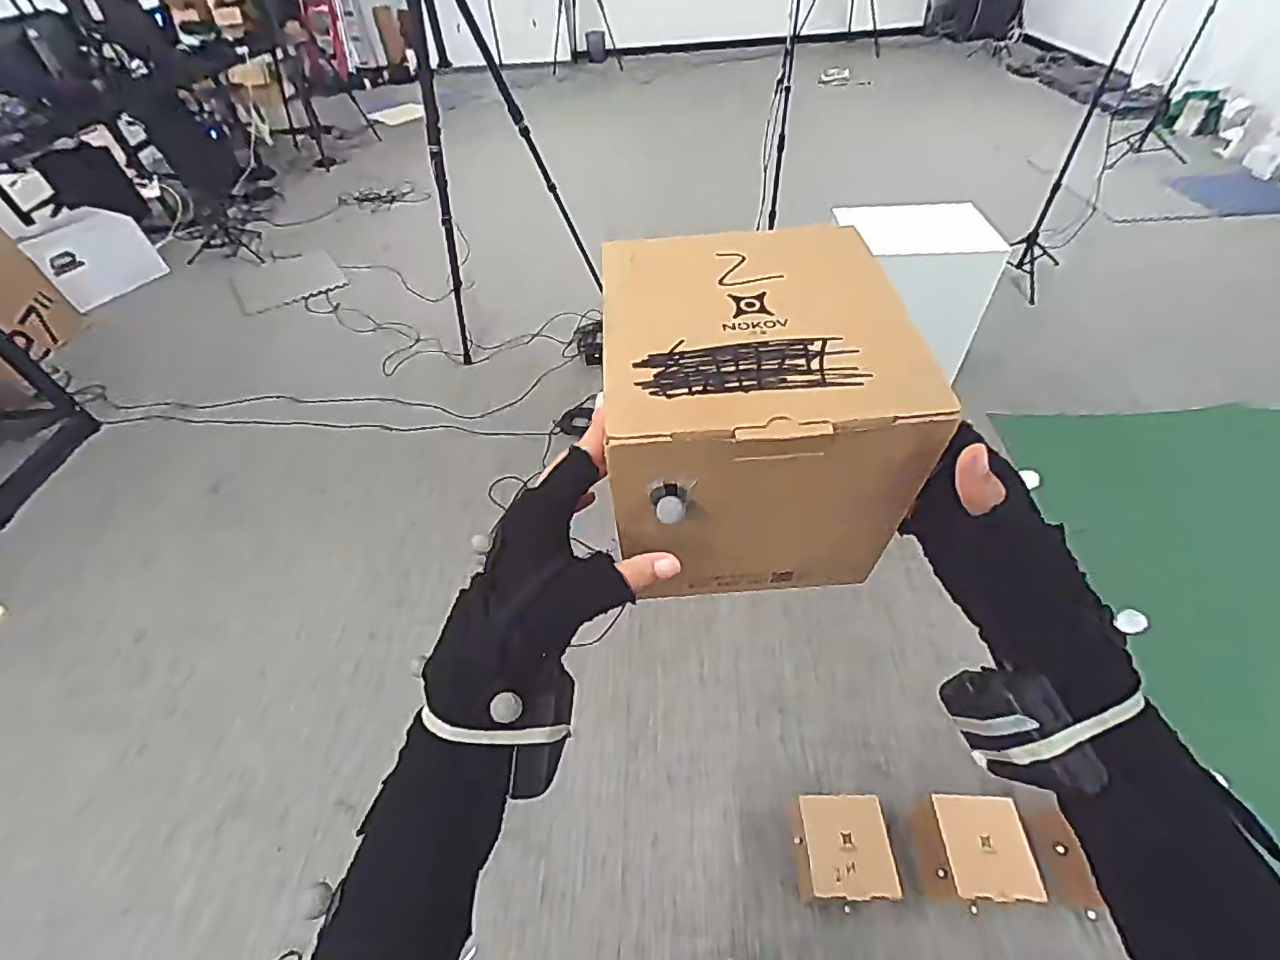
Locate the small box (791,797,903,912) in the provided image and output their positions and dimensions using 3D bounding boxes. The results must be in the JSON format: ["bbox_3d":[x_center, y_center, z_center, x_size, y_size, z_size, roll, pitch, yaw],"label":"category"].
[{"bbox_3d":[0.419,0.783,1.130,0.168,0.176,0.179,-2,48,4],"label":"small box"}]

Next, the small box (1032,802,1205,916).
[{"bbox_3d":[0.956,0.774,1.102,0.168,0.176,0.179,-2,47,2],"label":"small box"}]

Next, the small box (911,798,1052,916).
[{"bbox_3d":[0.688,0.780,1.118,0.168,0.176,0.179,0,48,4],"label":"small box"}]
